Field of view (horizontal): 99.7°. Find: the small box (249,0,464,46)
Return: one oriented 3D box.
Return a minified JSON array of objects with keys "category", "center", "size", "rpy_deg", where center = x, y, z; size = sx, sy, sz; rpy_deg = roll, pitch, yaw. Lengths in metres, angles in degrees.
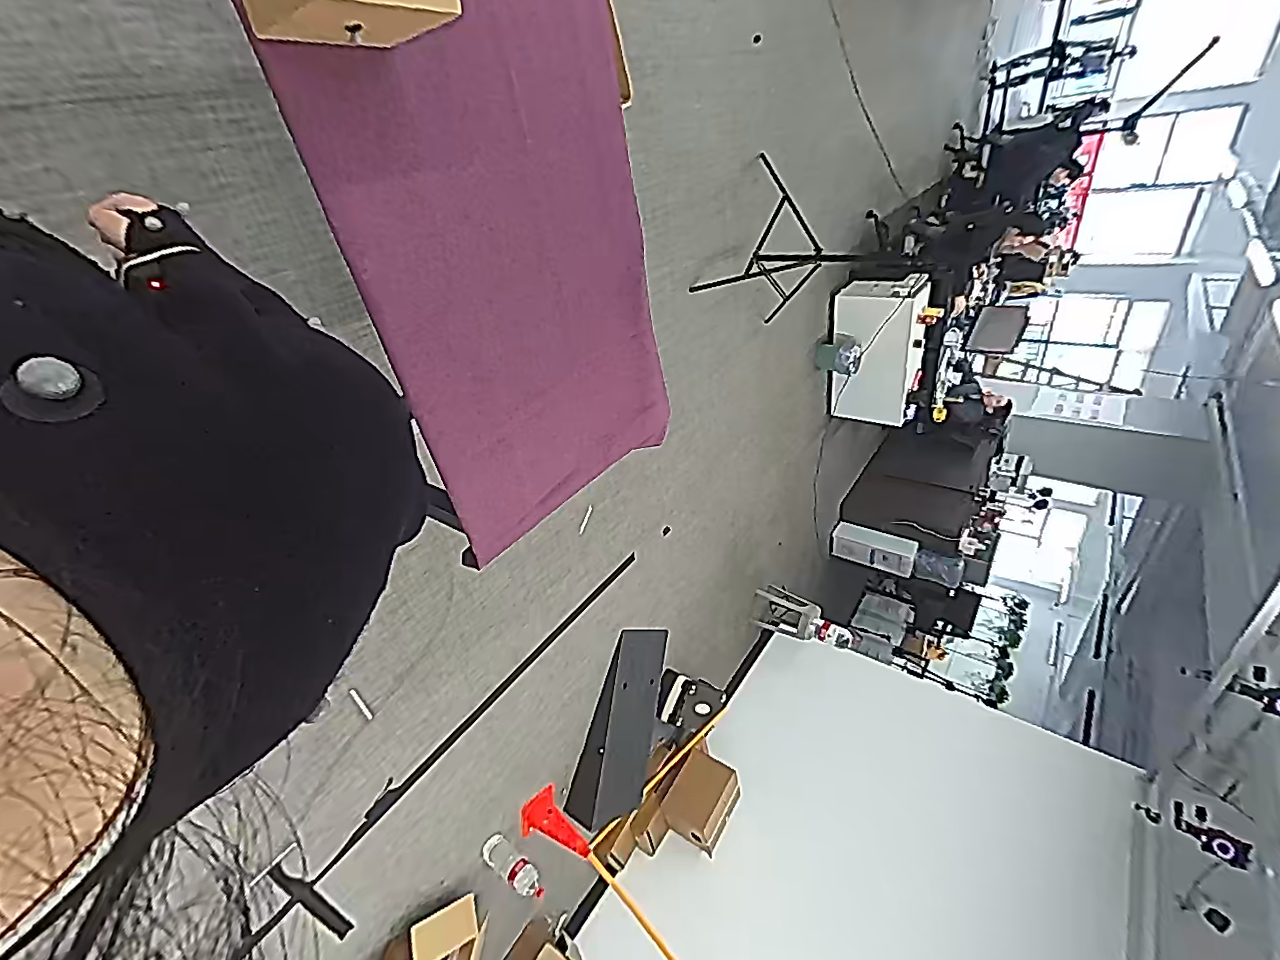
[{"category":"small box","center":[-0.321,-0.583,0.568],"size":[0.168,0.176,0.179],"rpy_deg":[-37,131,-41]}]
